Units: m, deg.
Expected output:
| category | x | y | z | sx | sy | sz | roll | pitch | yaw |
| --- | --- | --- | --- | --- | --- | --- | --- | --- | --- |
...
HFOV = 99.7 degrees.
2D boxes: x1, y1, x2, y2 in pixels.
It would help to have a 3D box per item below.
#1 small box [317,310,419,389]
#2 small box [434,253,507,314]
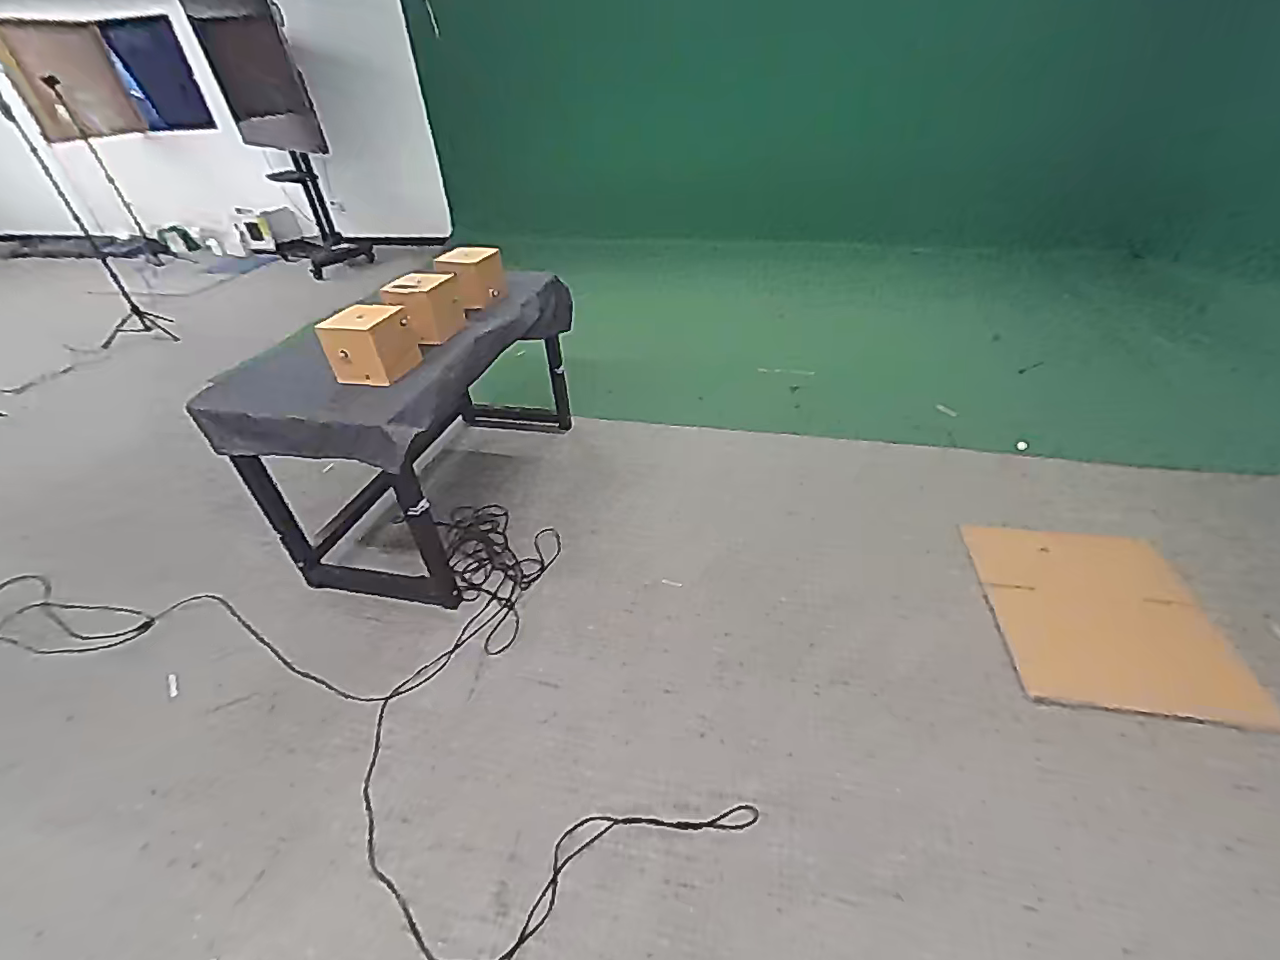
| category | x | y | z | sx | sy | sz | roll | pitch | yaw |
| --- | --- | --- | --- | --- | --- | --- | --- | --- | --- |
| small box | -0.749 | -0.366 | 1.515 | 0.168 | 0.176 | 0.179 | 5 | 37 | 12 |
| small box | -0.612 | -0.718 | 1.972 | 0.179 | 0.176 | 0.168 | 10 | 40 | 16 |
